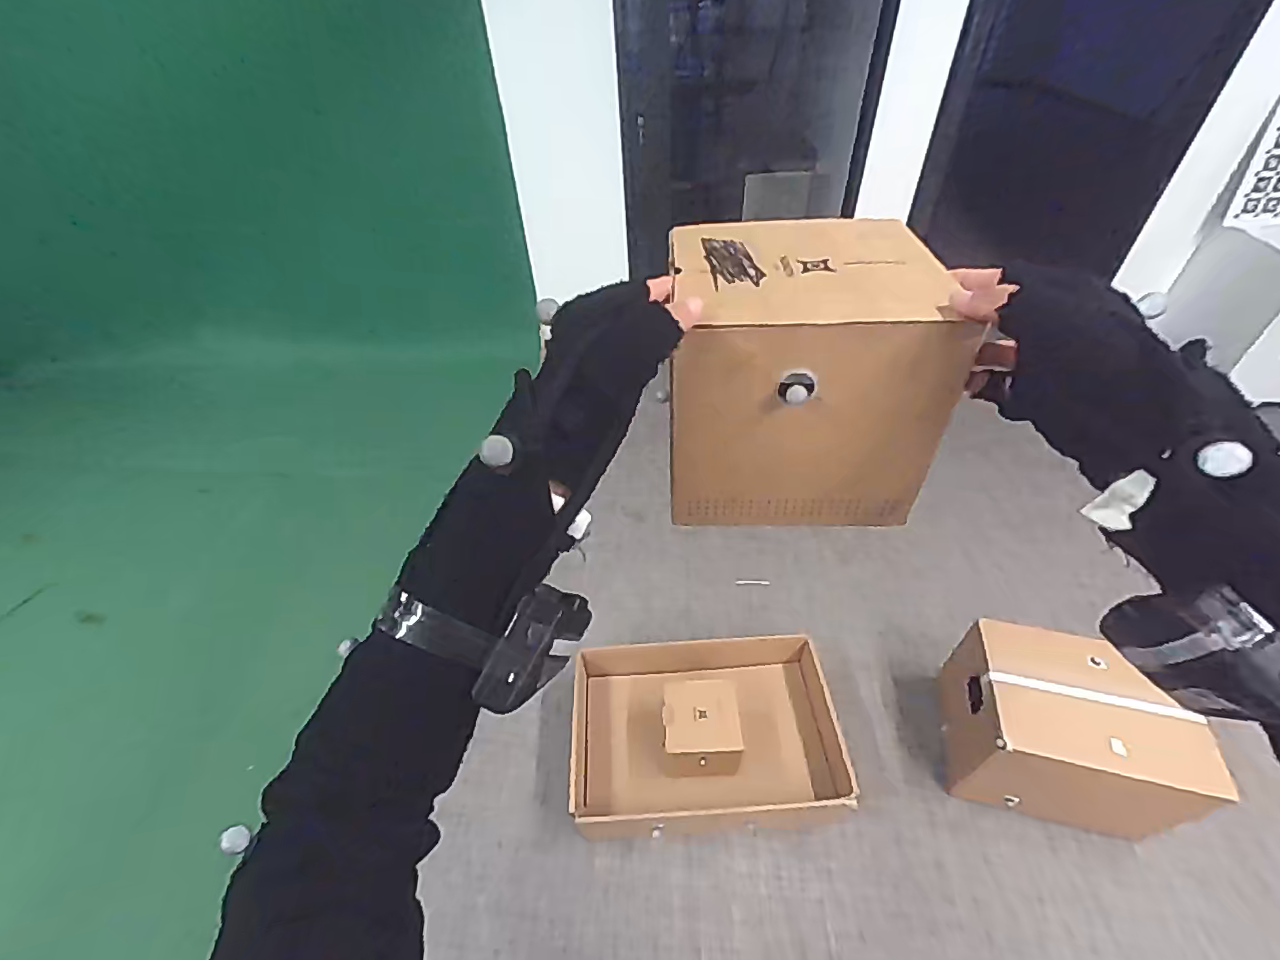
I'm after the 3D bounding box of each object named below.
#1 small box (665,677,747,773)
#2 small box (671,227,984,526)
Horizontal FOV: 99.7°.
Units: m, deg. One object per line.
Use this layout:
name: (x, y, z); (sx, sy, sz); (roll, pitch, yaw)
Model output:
small box: (0.154, 0.598, 1.316); (0.179, 0.176, 0.168); (-2, 45, -1)
small box: (0.114, -0.078, 0.416); (0.179, 0.176, 0.168); (0, 43, 4)
